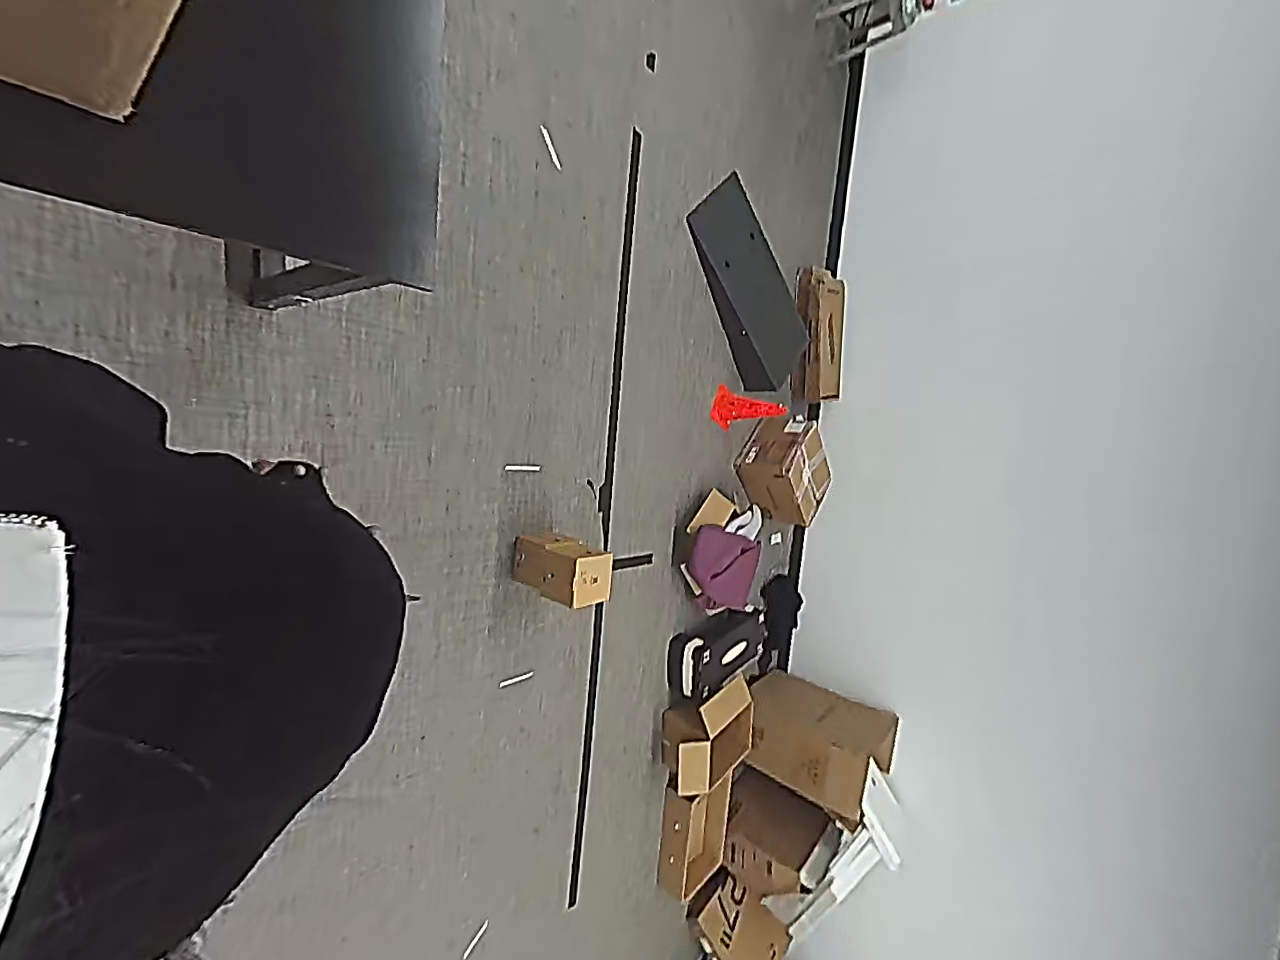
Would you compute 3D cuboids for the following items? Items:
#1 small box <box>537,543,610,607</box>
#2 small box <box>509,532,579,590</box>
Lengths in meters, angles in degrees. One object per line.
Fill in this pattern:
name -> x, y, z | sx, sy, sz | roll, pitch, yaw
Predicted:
small box -> -0.226, 0.316, 1.838 | 0.179, 0.176, 0.168 | 0, 97, -50
small box -> -0.345, 0.286, 1.948 | 0.179, 0.176, 0.168 | -1, 98, -49
